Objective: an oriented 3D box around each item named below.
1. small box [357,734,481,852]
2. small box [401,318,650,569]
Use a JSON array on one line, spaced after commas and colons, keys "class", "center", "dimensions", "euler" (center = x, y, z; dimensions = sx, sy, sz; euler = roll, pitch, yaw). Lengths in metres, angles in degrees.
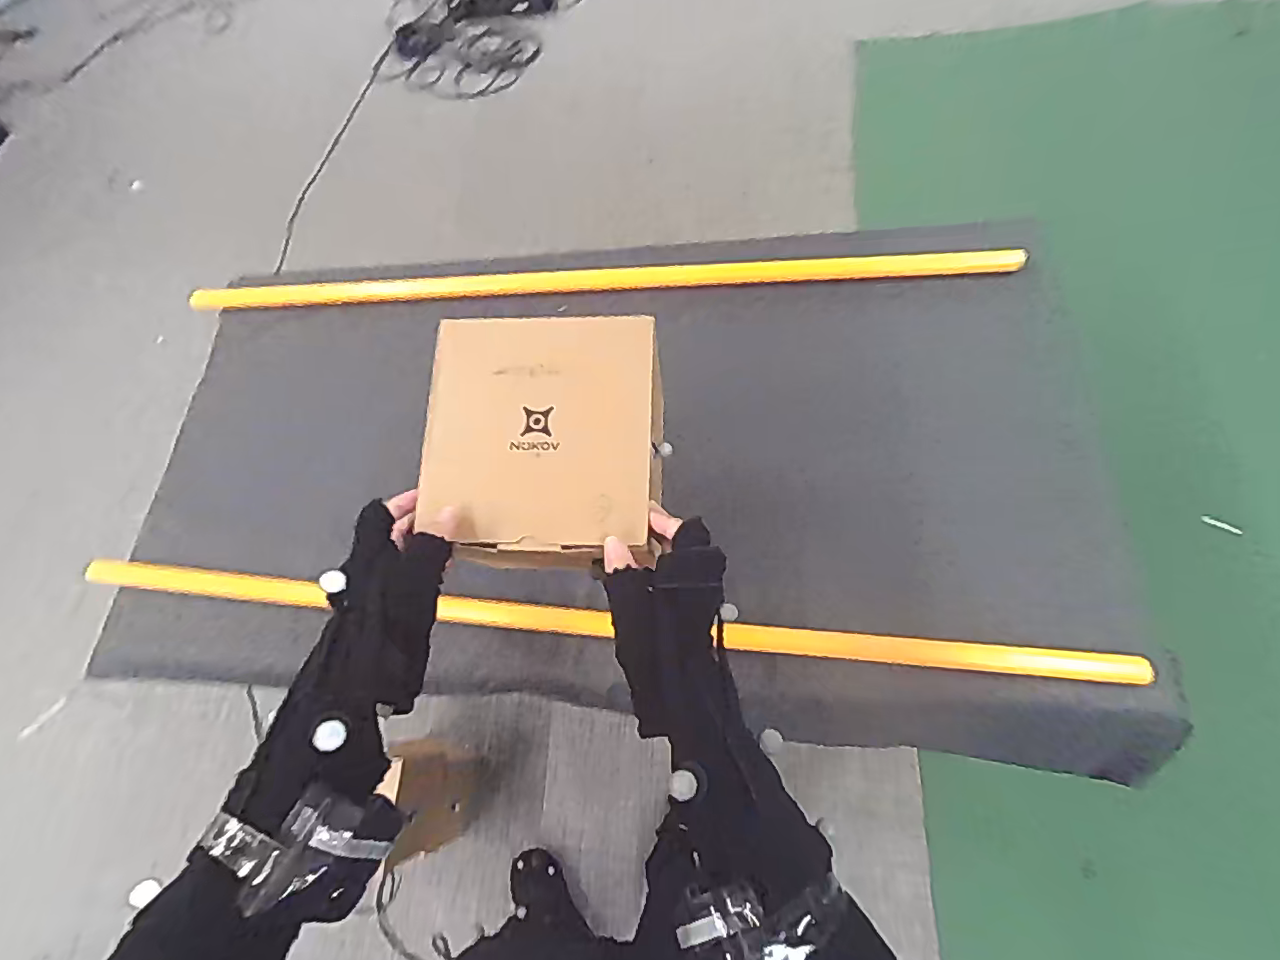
[{"class": "small box", "center": [-0.470, 0.670, 1.183], "dimensions": [0.168, 0.176, 0.179], "euler": [8, 71, 12]}, {"class": "small box", "center": [-0.078, -0.016, 0.465], "dimensions": [0.168, 0.176, 0.179], "euler": [-1, 75, 4]}]
